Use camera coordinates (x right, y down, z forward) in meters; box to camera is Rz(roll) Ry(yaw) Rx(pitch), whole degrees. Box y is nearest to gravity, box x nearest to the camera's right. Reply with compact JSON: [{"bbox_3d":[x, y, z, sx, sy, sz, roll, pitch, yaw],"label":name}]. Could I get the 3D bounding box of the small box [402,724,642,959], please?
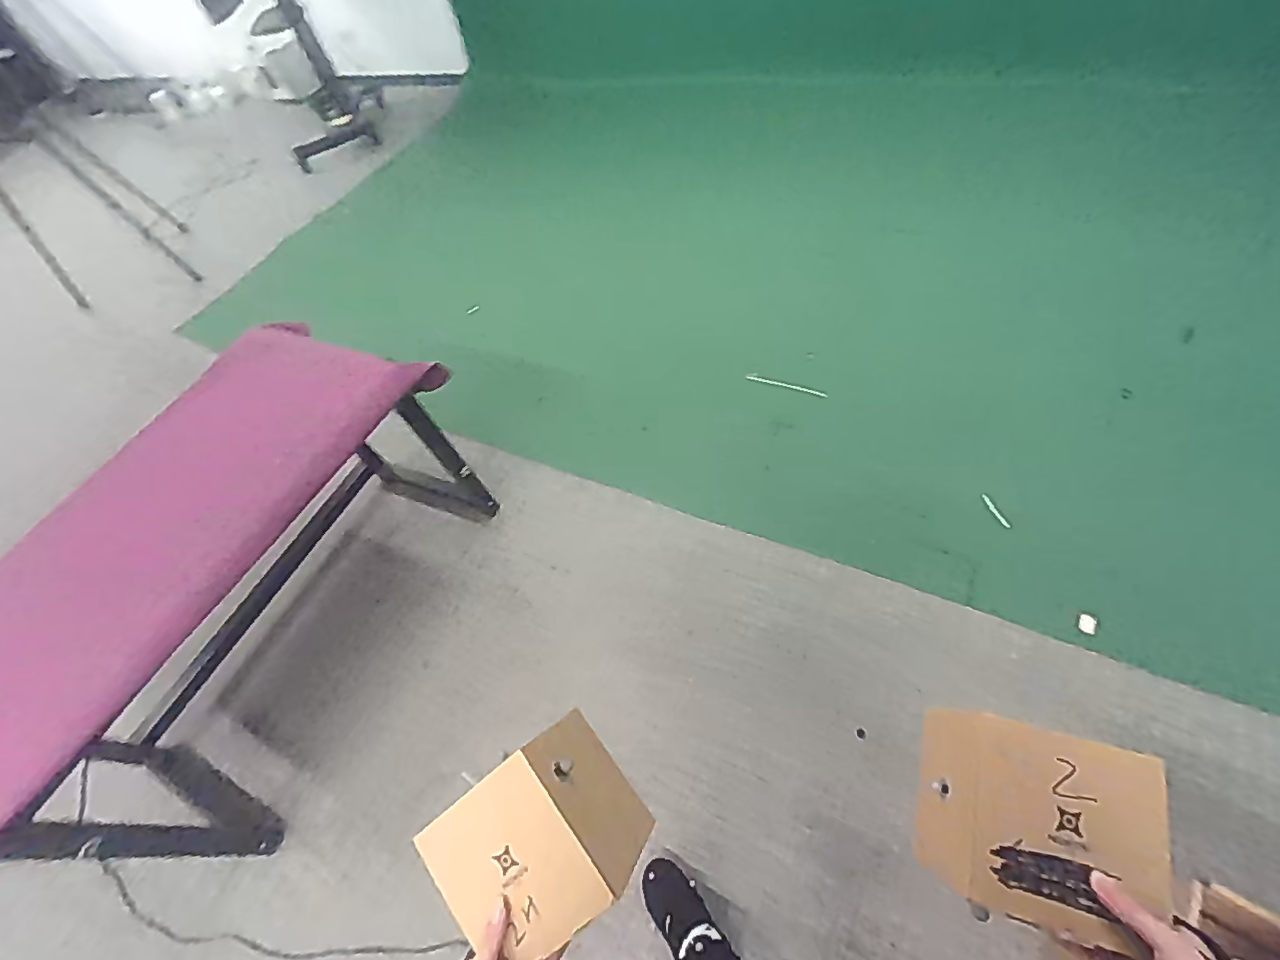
[{"bbox_3d":[-0.124,0.410,0.625,0.168,0.176,0.179,-41,75,6],"label":"small box"}]
